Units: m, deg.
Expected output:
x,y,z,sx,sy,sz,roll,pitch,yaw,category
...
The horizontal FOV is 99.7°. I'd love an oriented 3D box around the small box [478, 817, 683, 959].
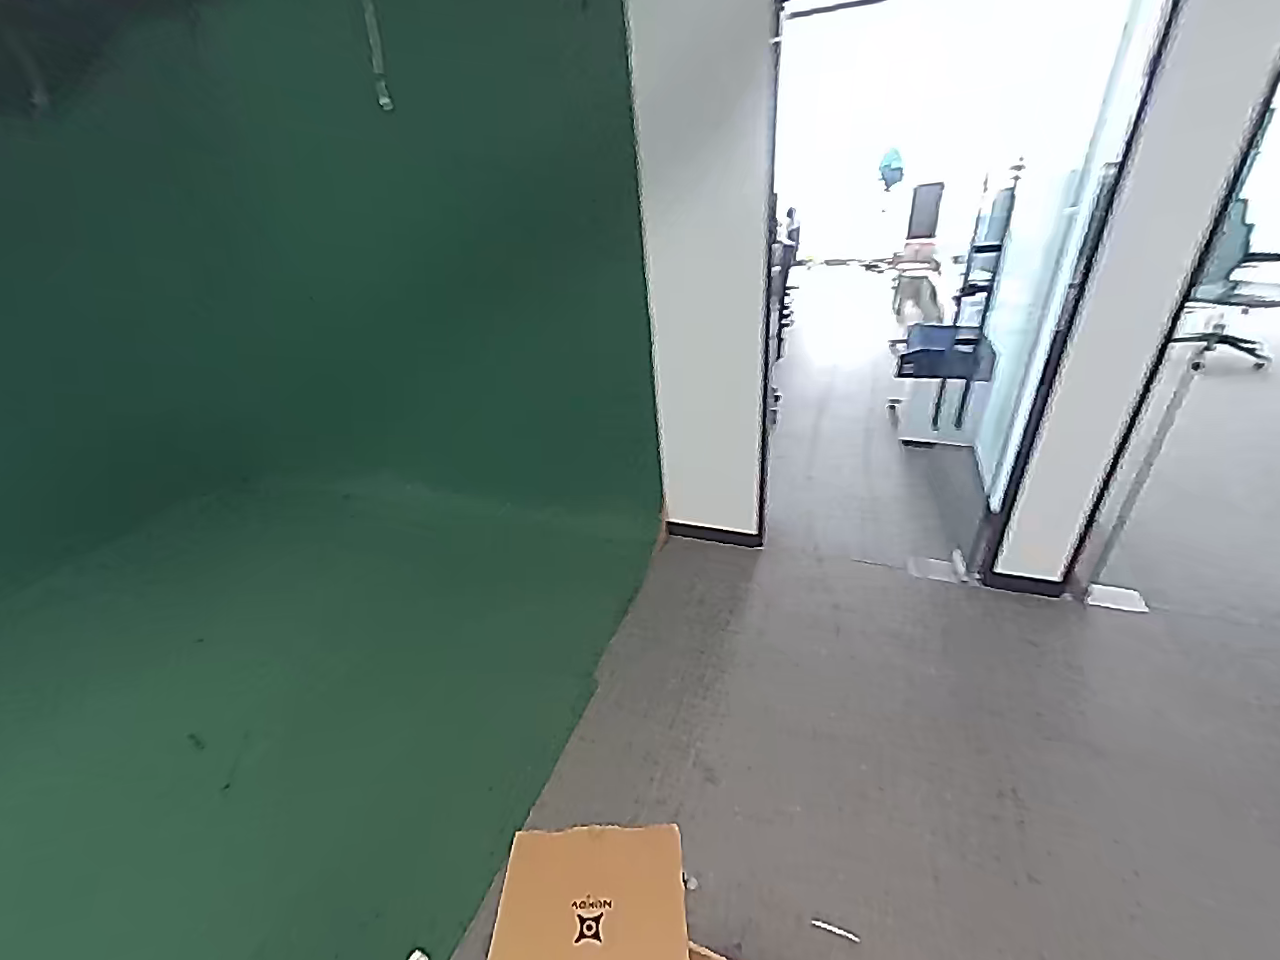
x,y,z,sx,sy,sz,roll,pitch,yaw,category
-0.043,0.443,0.477,0.168,0.176,0.179,-4,17,-2,small box
